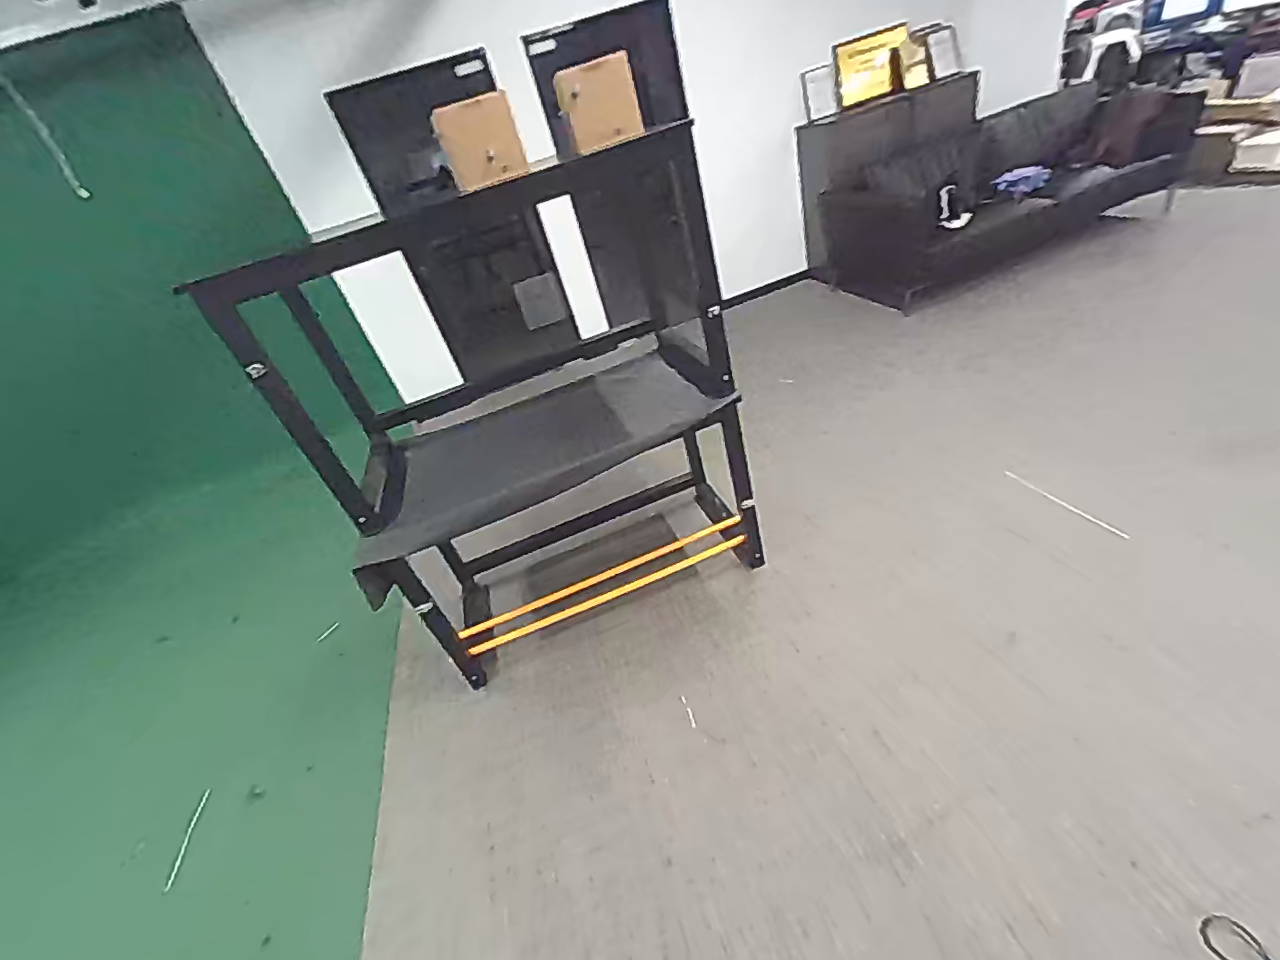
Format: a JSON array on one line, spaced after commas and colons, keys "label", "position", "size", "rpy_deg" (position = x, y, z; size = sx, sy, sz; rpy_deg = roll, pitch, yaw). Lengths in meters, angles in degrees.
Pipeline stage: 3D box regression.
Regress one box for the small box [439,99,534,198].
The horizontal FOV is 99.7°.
[{"label": "small box", "position": [-0.378, -0.808, 1.331], "size": [0.168, 0.176, 0.179], "rpy_deg": [-25, 33, -10]}]
